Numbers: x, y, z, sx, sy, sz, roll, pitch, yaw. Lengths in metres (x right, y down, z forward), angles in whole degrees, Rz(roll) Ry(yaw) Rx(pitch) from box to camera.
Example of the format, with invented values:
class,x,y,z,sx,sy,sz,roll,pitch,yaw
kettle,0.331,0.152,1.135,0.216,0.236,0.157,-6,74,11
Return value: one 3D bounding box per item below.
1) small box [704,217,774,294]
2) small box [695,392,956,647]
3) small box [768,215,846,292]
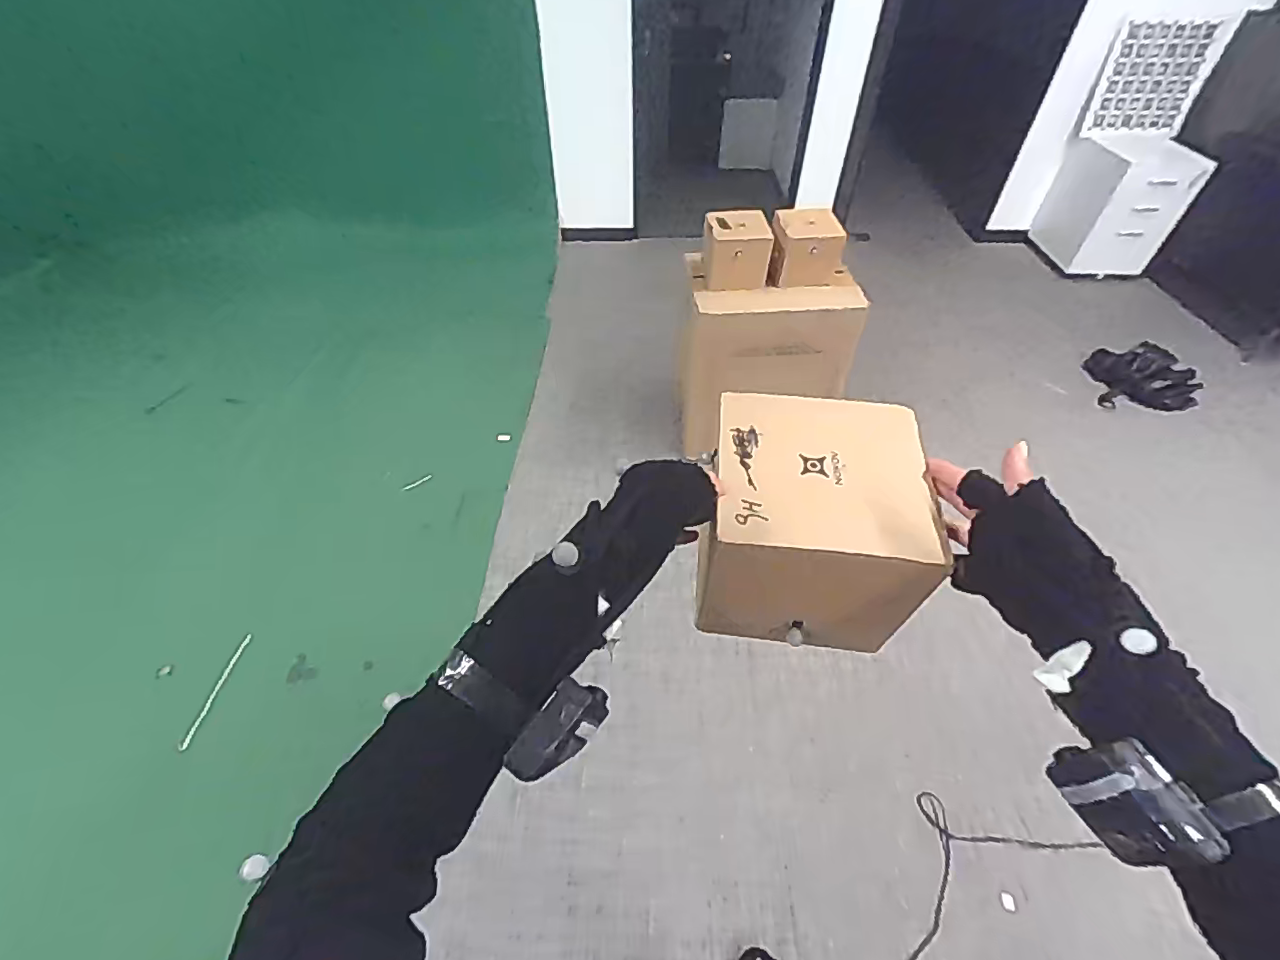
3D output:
class,x,y,z,sx,sy,sz,roll,pitch,yaw
small box,0.300,-0.695,1.681,0.179,0.176,0.168,-3,52,-4
small box,0.153,0.042,0.510,0.179,0.176,0.168,6,50,3
small box,0.513,-0.708,1.696,0.179,0.176,0.168,-4,53,-6
